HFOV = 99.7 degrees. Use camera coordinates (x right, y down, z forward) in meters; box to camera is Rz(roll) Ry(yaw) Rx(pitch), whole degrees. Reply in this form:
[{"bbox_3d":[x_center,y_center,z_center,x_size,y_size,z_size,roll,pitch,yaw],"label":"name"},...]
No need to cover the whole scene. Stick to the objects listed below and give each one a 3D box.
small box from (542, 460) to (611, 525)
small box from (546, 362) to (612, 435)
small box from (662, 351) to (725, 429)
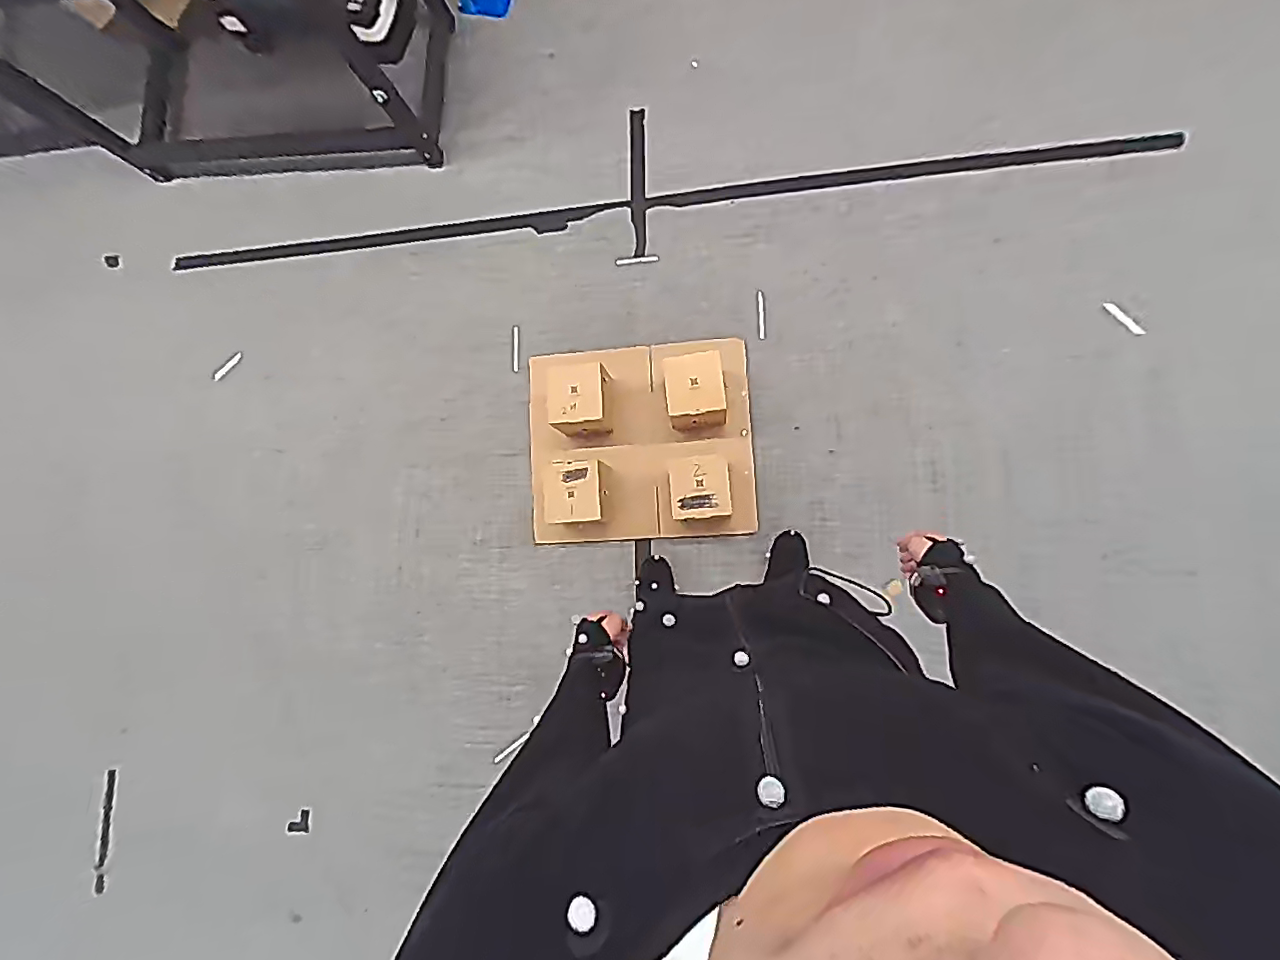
[{"bbox_3d":[-0.185,0.042,1.612,0.168,0.176,0.179,-5,84,8],"label":"small box"},{"bbox_3d":[-0.182,-0.241,1.641,0.168,0.176,0.179,-4,84,9],"label":"small box"},{"bbox_3d":[0.159,-0.261,1.600,0.168,0.176,0.179,-8,83,7],"label":"small box"}]
